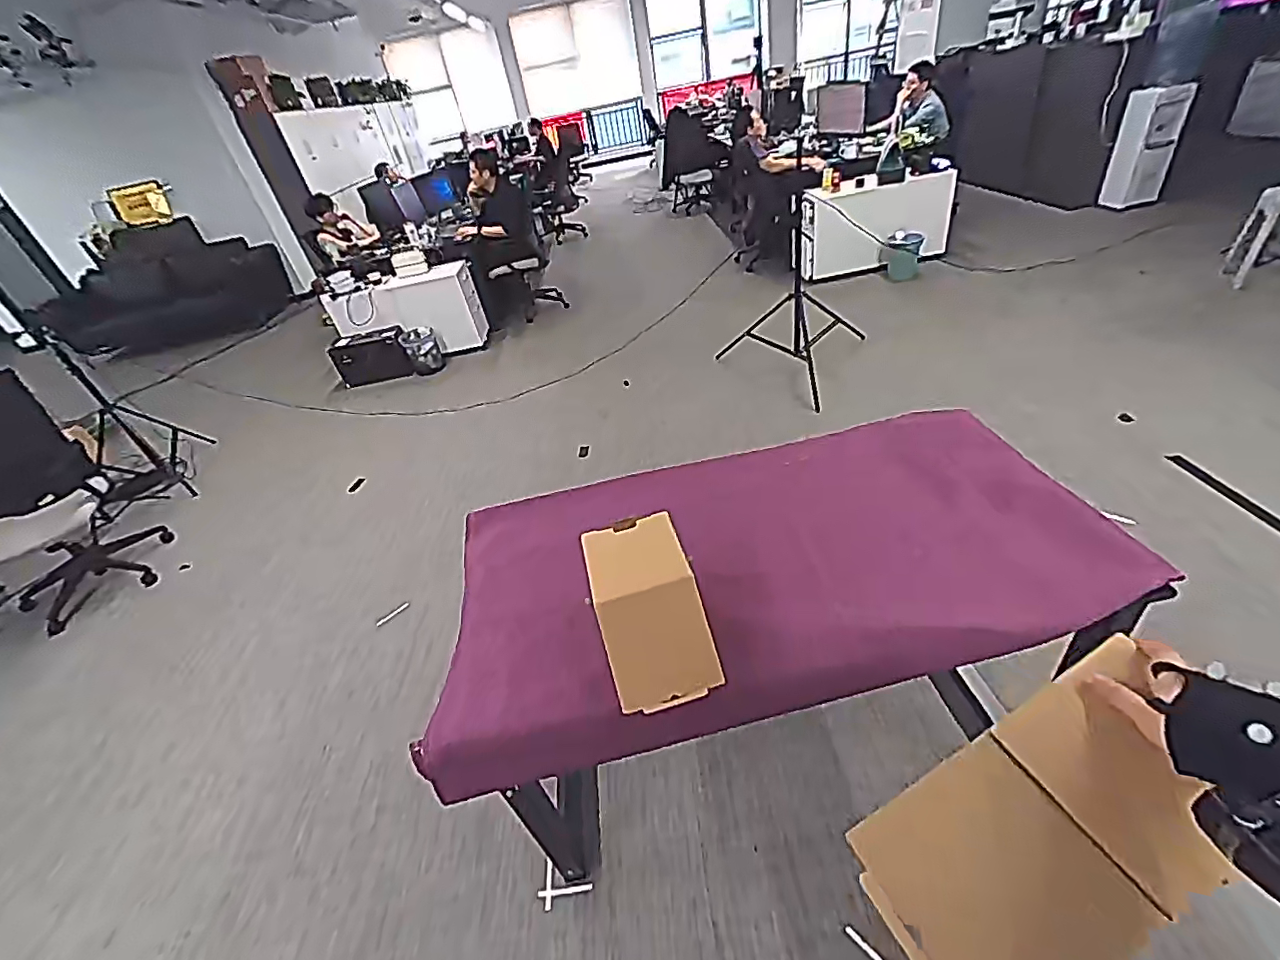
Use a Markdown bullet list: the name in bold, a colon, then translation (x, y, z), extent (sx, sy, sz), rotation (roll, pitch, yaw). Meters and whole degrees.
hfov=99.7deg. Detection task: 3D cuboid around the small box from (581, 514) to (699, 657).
- **small box**: translation (0.001, 0.193, 0.968), extent (0.168, 0.176, 0.179), rotation (-15, 35, -4)
